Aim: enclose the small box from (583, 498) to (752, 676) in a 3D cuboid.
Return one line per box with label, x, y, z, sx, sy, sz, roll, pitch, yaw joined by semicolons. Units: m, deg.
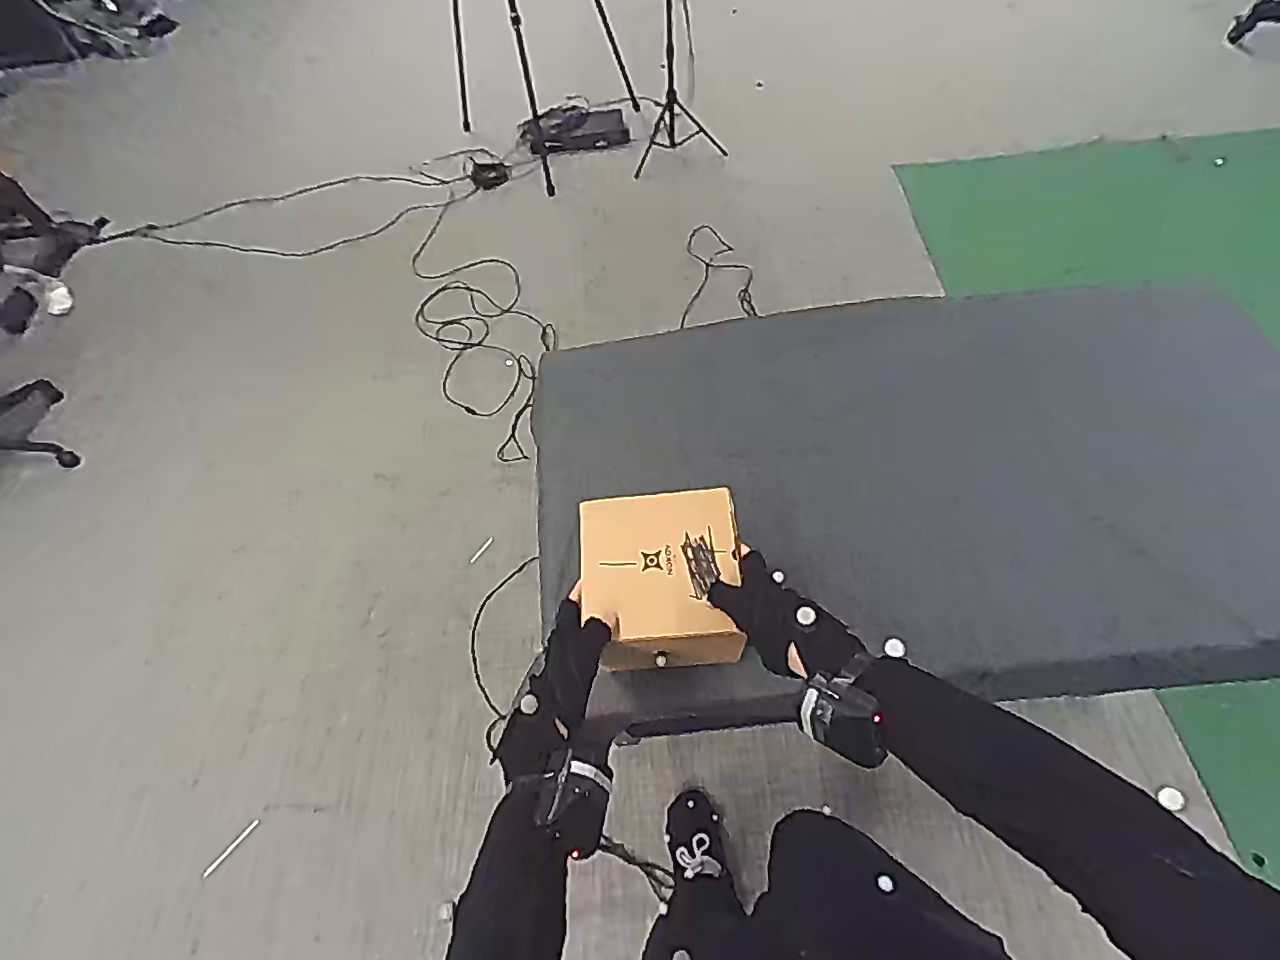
small box;0.030;0.136;0.657;0.179;0.176;0.168;-6;60;3
